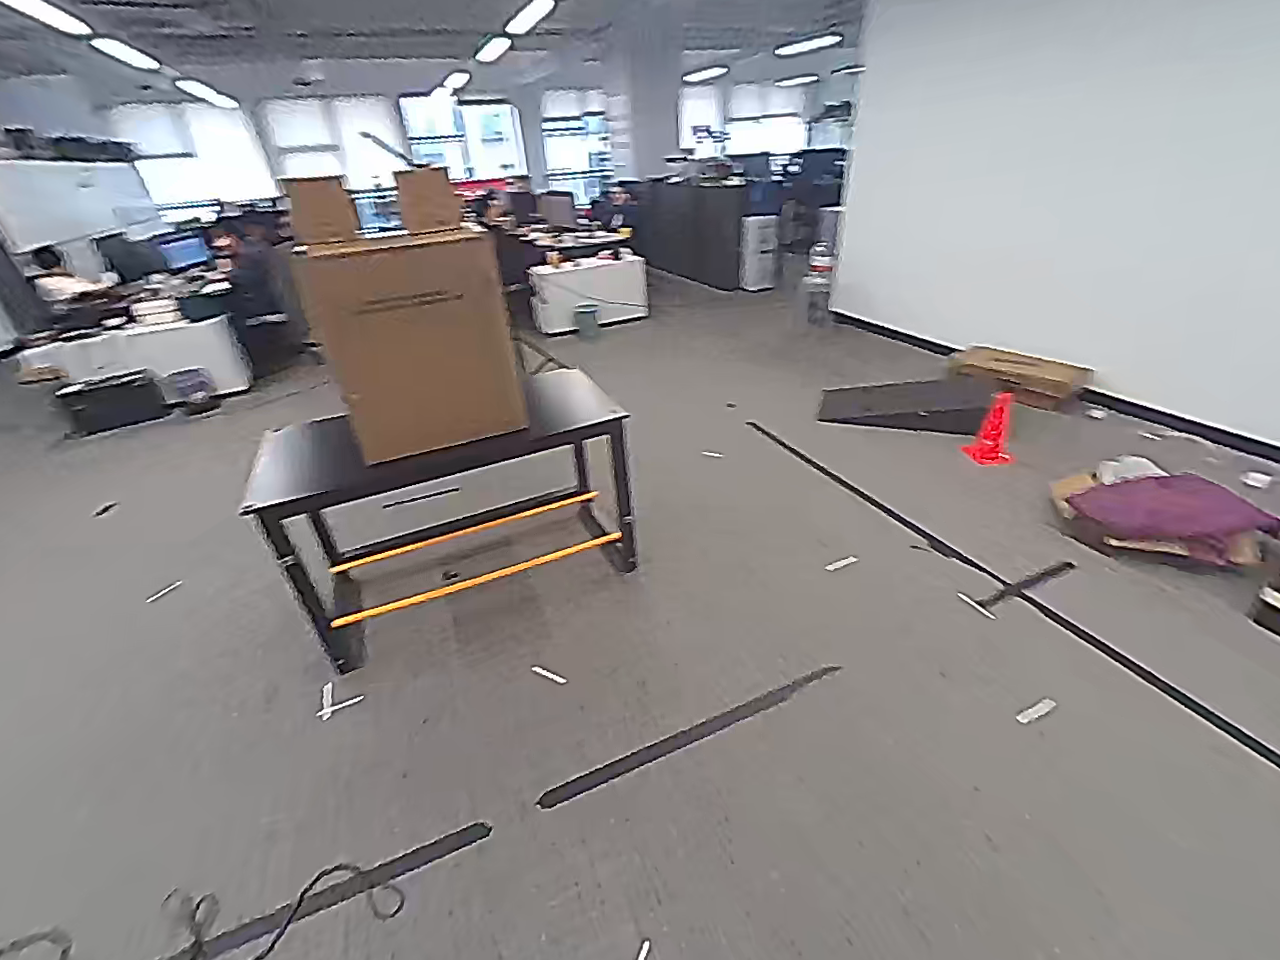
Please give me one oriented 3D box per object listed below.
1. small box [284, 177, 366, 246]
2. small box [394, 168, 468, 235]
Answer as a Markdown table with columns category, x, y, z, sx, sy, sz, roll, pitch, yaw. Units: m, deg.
| category | x | y | z | sx | sy | sz | roll | pitch | yaw |
| --- | --- | --- | --- | --- | --- | --- | --- | --- | --- |
| small box | -0.926 | -0.795 | 1.604 | 0.168 | 0.176 | 0.179 | -17 | 32 | -21 |
| small box | -0.647 | -0.859 | 1.672 | 0.168 | 0.176 | 0.179 | -19 | 33 | -20 |
